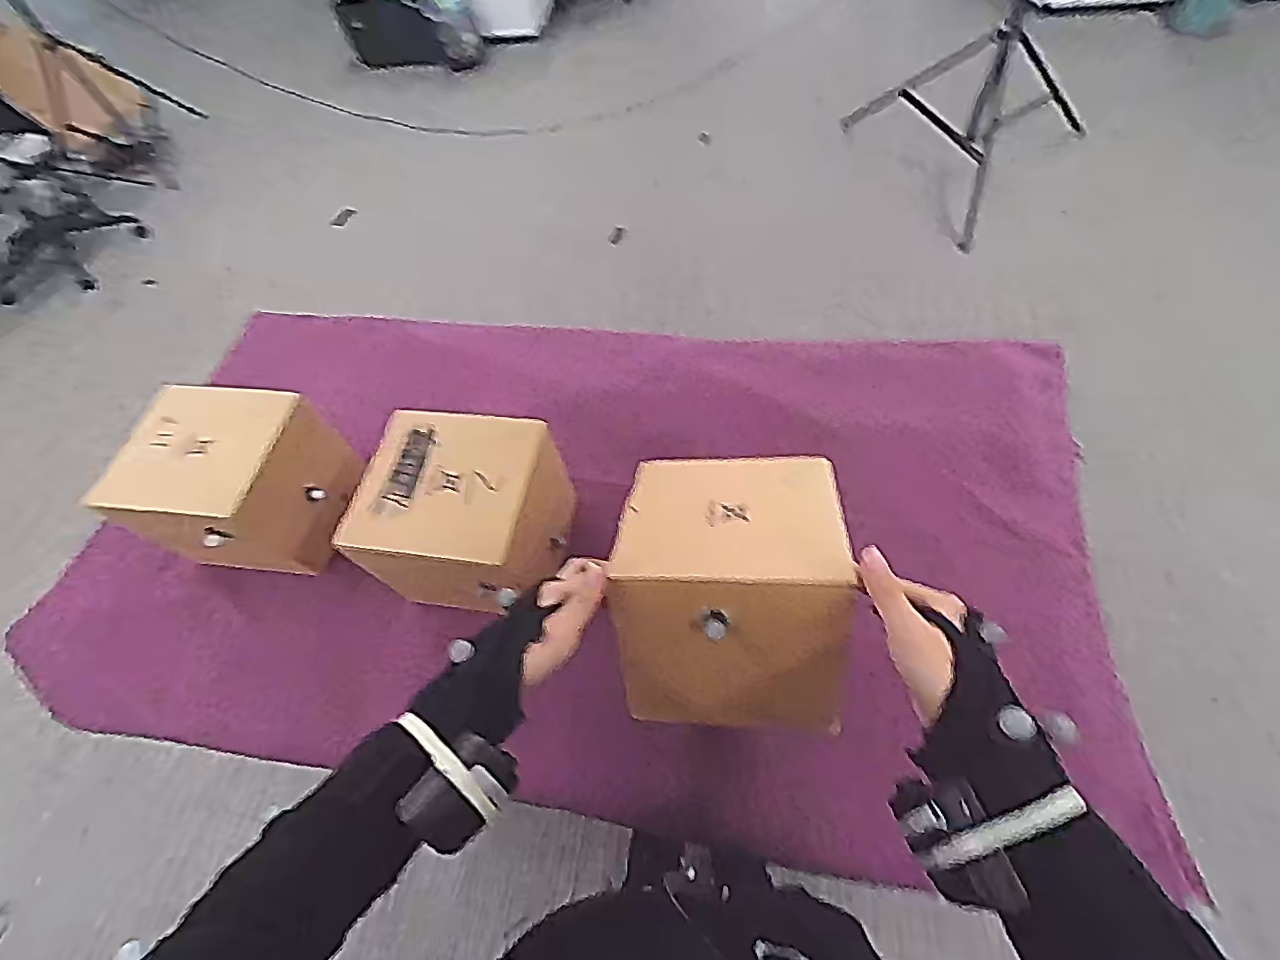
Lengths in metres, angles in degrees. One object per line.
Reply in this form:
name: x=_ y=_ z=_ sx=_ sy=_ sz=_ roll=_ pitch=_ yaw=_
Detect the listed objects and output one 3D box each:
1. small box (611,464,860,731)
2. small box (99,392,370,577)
small box: x=0.088 y=0.101 z=0.486 sx=0.179 sy=0.176 sz=0.168 roll=-2 pitch=32 yaw=13
small box: x=-0.478 y=0.012 z=0.675 sx=0.179 sy=0.176 sz=0.168 roll=5 pitch=59 yaw=7
